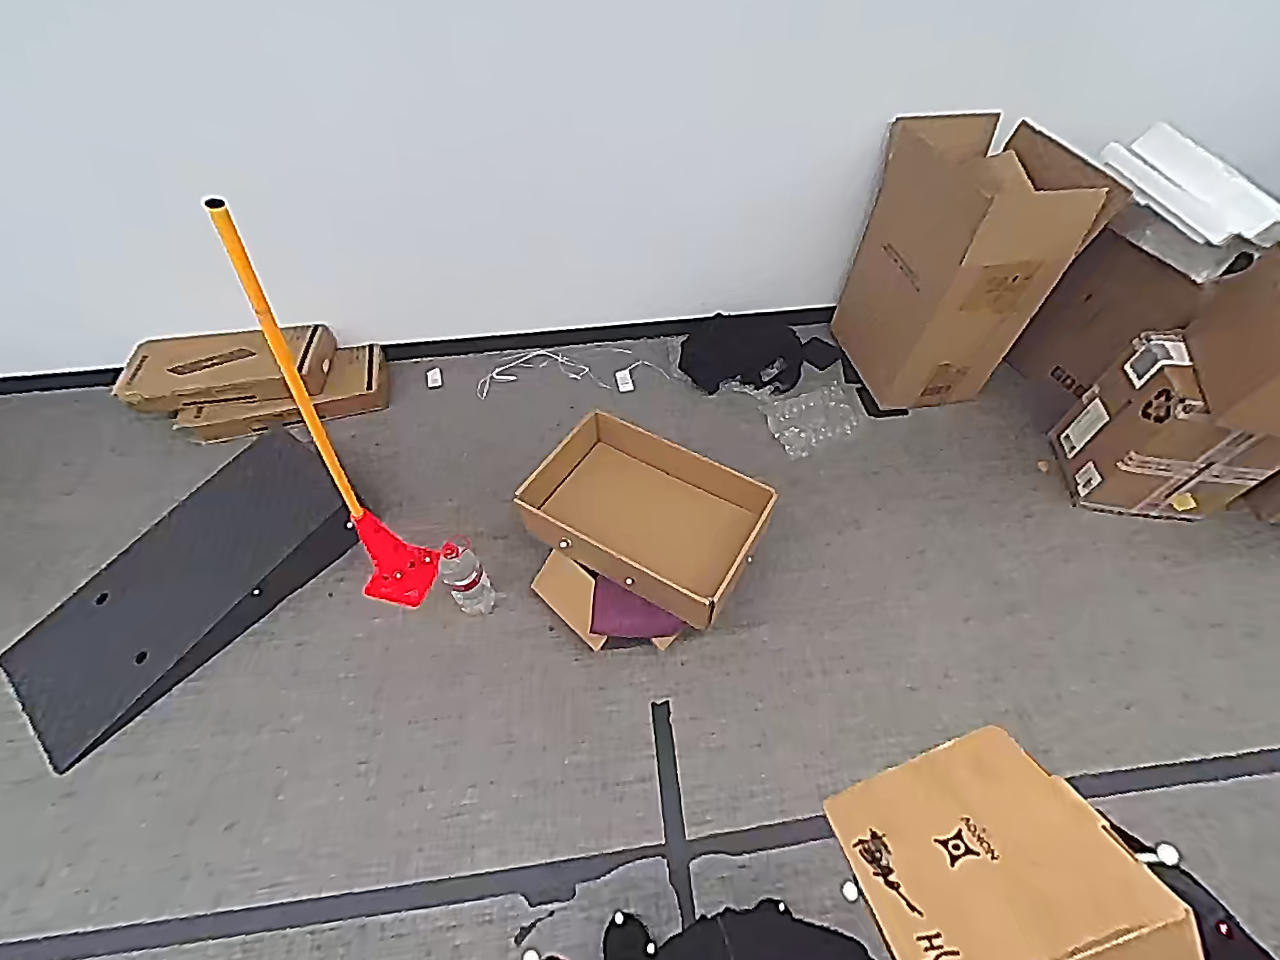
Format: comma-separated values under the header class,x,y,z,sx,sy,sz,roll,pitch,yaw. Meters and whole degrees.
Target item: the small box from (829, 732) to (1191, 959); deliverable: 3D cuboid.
class,x,y,z,sx,sy,sz,roll,pitch,yaw
small box,0.288,0.354,0.437,0.179,0.176,0.168,-25,14,3
